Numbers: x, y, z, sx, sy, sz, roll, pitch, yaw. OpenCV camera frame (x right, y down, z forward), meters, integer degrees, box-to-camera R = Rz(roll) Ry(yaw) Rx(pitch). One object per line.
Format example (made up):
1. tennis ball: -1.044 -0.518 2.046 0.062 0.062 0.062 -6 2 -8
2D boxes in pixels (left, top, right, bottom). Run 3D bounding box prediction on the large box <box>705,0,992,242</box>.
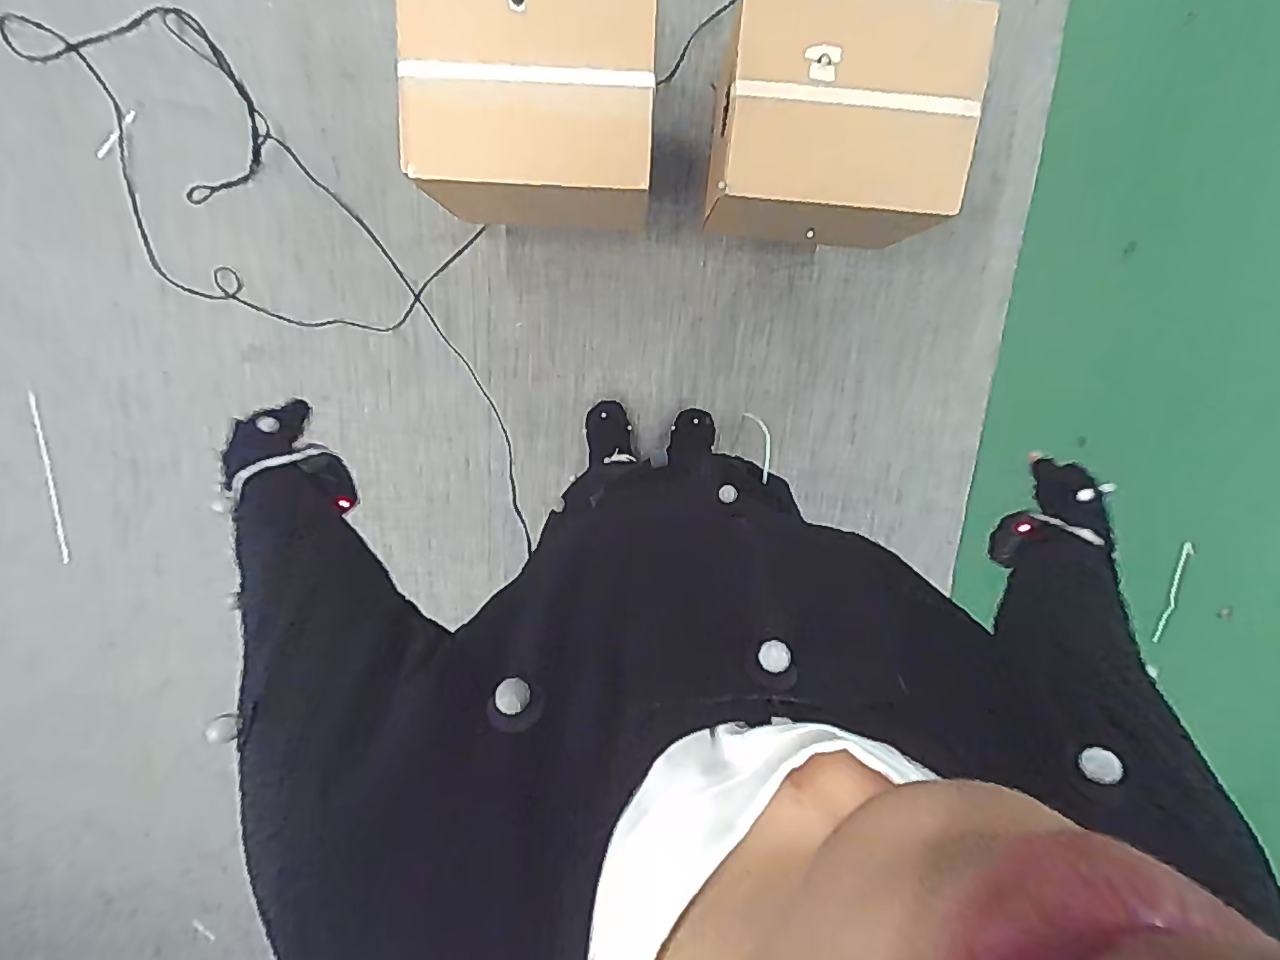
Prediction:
1. large box: 0.353 -0.654 1.032 0.408 0.320 0.320 5 103 -1
